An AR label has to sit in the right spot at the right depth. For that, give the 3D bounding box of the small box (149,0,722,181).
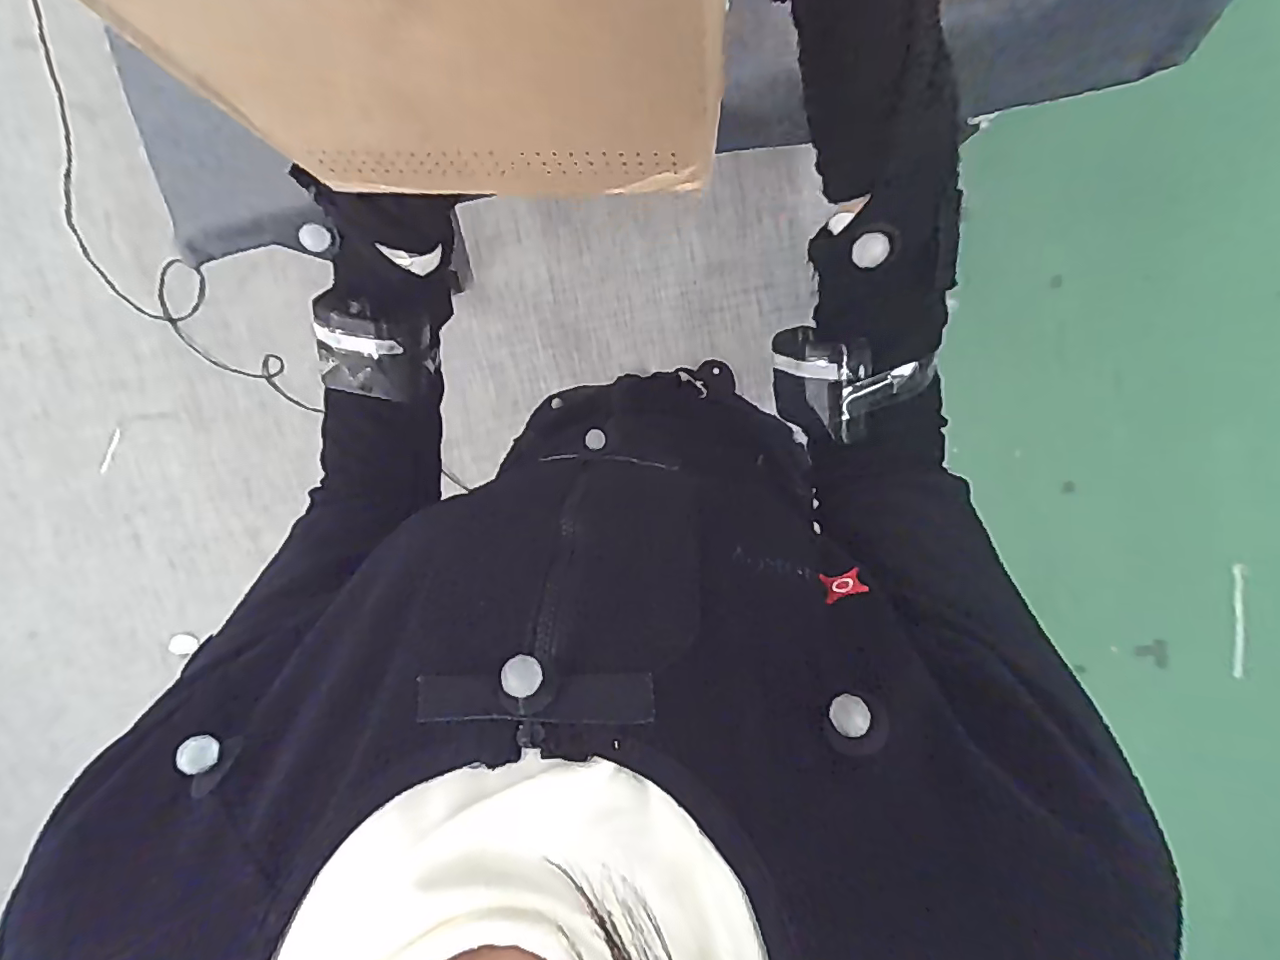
[{"bbox_3d":[-0.063,-0.213,0.162,0.179,0.176,0.168,5,92,8],"label":"small box"}]
